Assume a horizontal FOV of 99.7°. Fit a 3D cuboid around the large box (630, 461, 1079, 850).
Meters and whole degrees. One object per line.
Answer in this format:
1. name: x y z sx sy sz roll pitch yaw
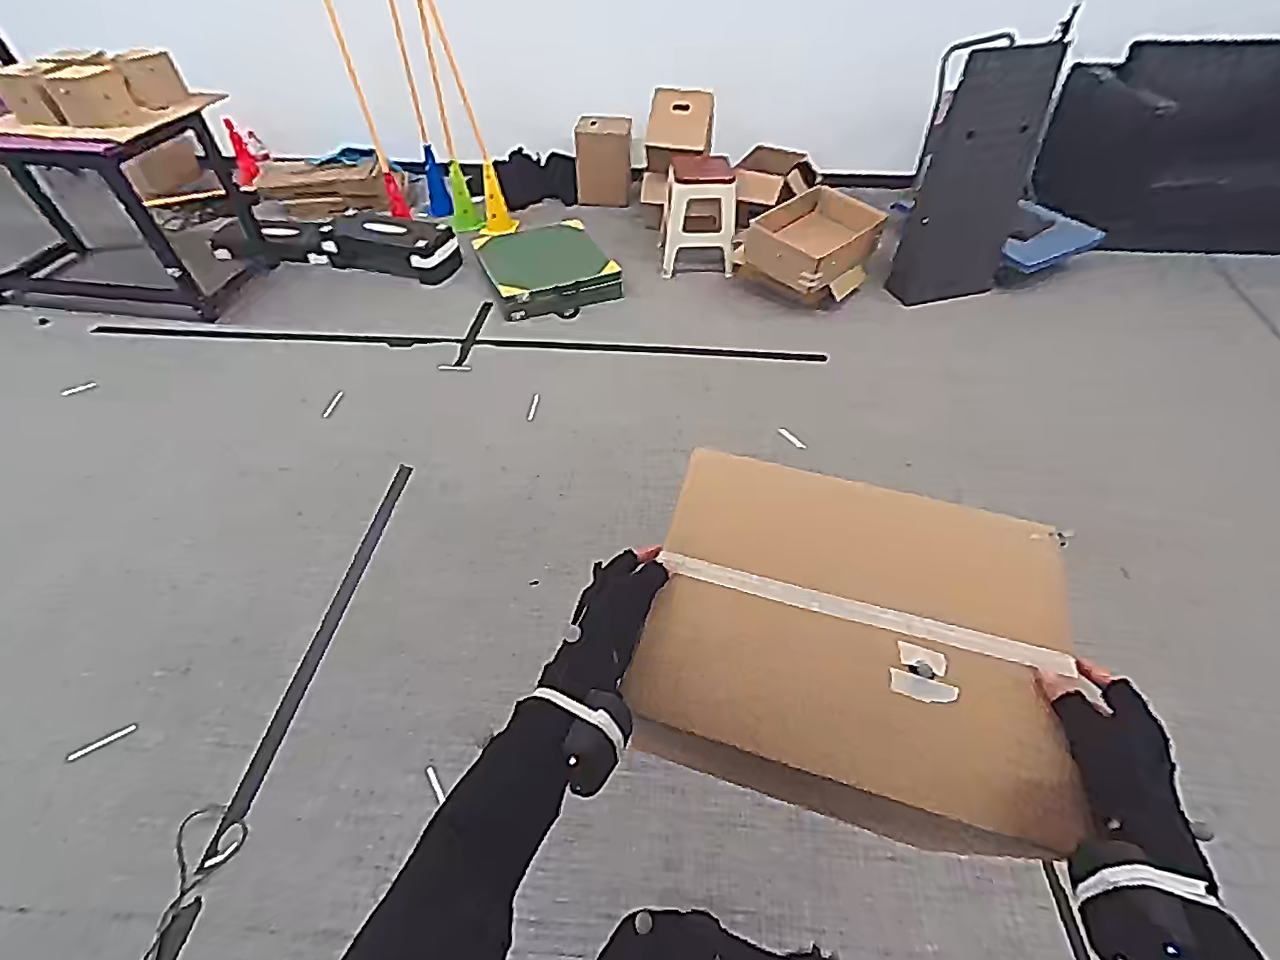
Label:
1. large box: 0.224 0.221 0.685 0.408 0.320 0.320 14 60 11
